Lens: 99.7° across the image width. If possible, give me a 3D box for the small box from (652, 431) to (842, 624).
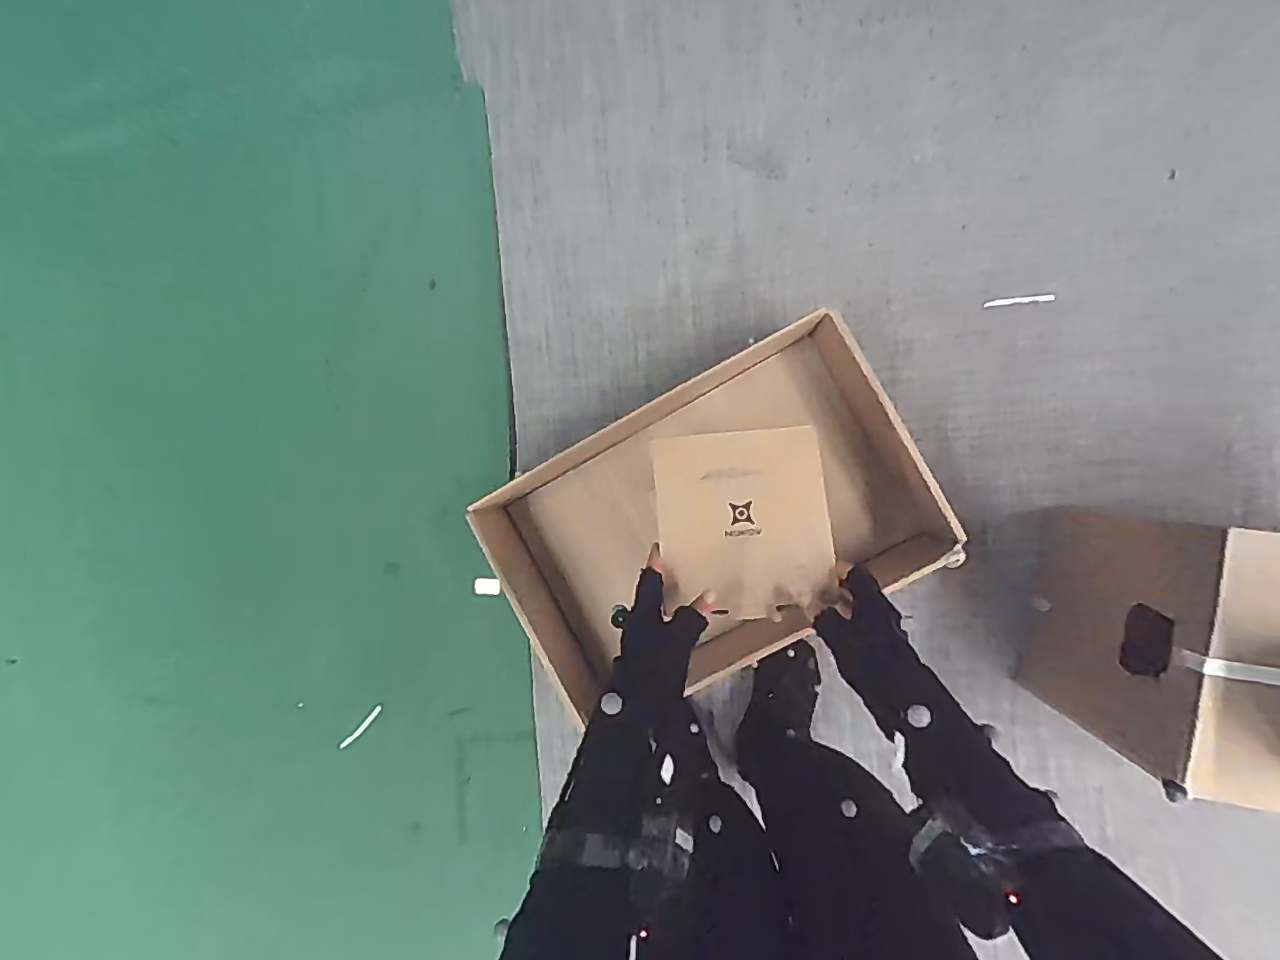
[{"bbox_3d":[0.103,0.059,0.588,0.168,0.176,0.179,-4,76,2],"label":"small box"}]
